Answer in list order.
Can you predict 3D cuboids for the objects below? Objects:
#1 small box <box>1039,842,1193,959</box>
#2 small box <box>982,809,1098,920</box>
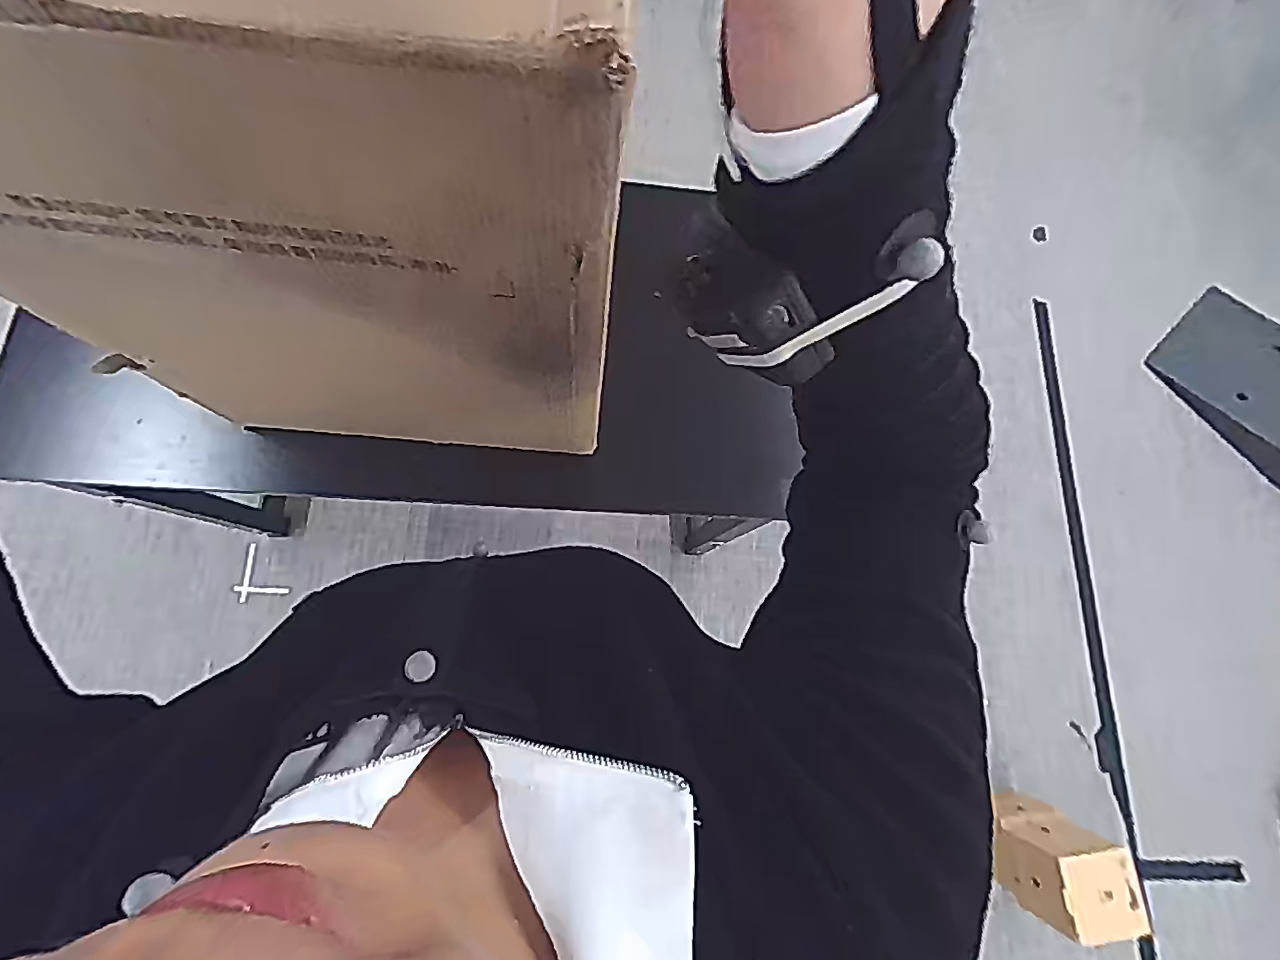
[{"bbox_3d":[1.010,0.915,1.169,0.179,0.176,0.168,-4,77,-7],"label":"small box"},{"bbox_3d":[0.993,0.936,1.332,0.179,0.176,0.168,-3,77,-6],"label":"small box"}]
